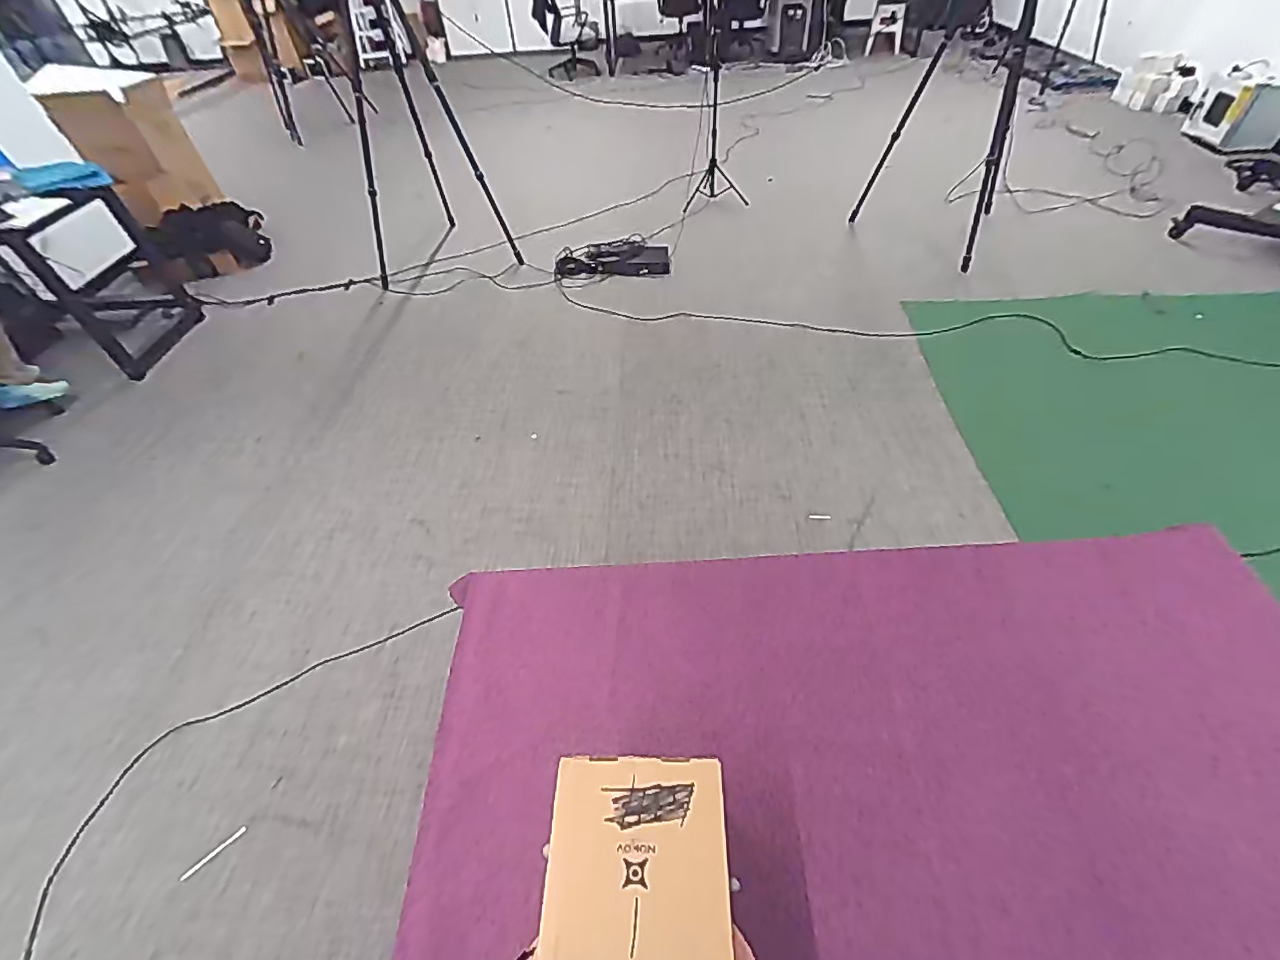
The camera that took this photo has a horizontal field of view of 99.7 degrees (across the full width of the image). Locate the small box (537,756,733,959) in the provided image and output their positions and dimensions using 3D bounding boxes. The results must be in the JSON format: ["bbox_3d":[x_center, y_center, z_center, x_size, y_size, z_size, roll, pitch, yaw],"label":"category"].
[{"bbox_3d":[0.001,0.403,0.554,0.168,0.176,0.179,-1,48,4],"label":"small box"}]
